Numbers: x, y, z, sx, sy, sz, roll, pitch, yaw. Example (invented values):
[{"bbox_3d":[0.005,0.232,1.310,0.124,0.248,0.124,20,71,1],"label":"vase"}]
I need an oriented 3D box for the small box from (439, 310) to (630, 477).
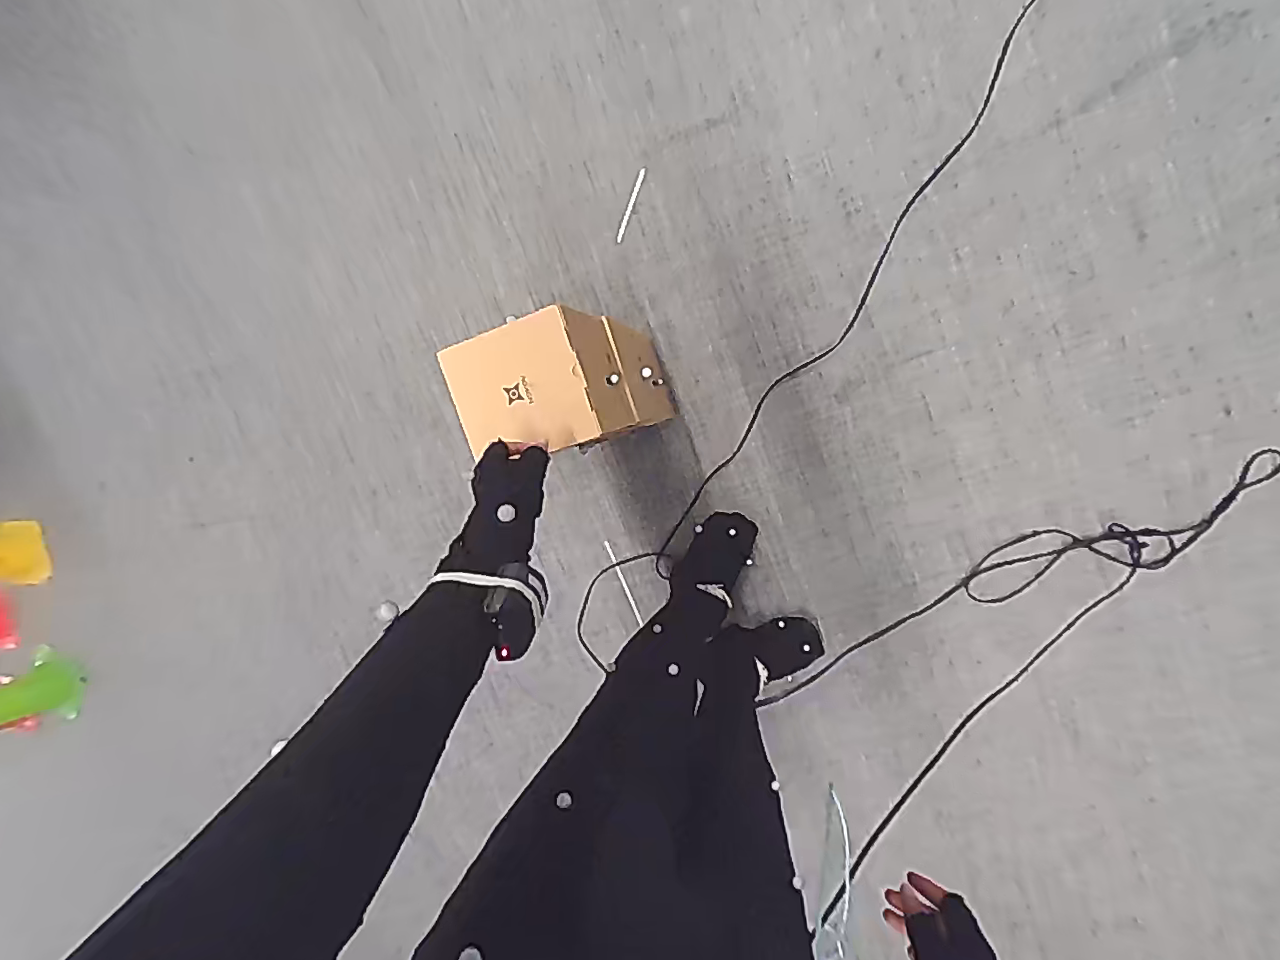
[{"bbox_3d":[-0.133,-0.113,0.741,0.179,0.176,0.168,-17,96,15],"label":"small box"}]

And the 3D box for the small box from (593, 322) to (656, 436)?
[{"bbox_3d":[-0.089,-0.145,0.894,0.179,0.176,0.168,-16,96,15],"label":"small box"}]

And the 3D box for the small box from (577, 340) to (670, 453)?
[{"bbox_3d":[-0.050,-0.167,1.053,0.168,0.176,0.179,-17,96,15],"label":"small box"}]
